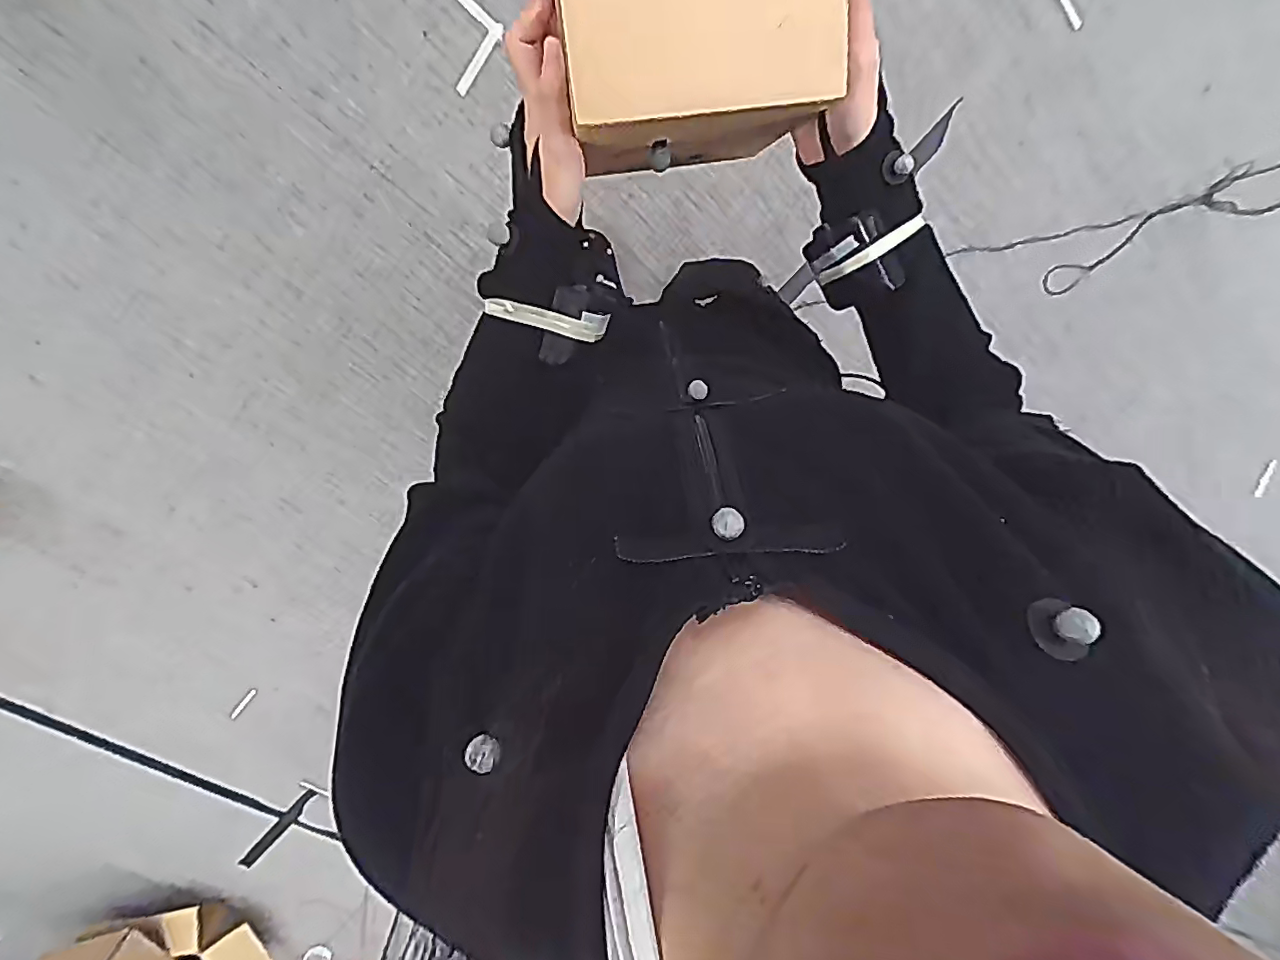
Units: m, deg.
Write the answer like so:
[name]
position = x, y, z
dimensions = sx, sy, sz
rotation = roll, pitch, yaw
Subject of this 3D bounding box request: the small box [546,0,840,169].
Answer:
[small box]
position = 0.021, -0.325, 0.365
dimensions = 0.168, 0.176, 0.179
rotation = -9, 109, -4
